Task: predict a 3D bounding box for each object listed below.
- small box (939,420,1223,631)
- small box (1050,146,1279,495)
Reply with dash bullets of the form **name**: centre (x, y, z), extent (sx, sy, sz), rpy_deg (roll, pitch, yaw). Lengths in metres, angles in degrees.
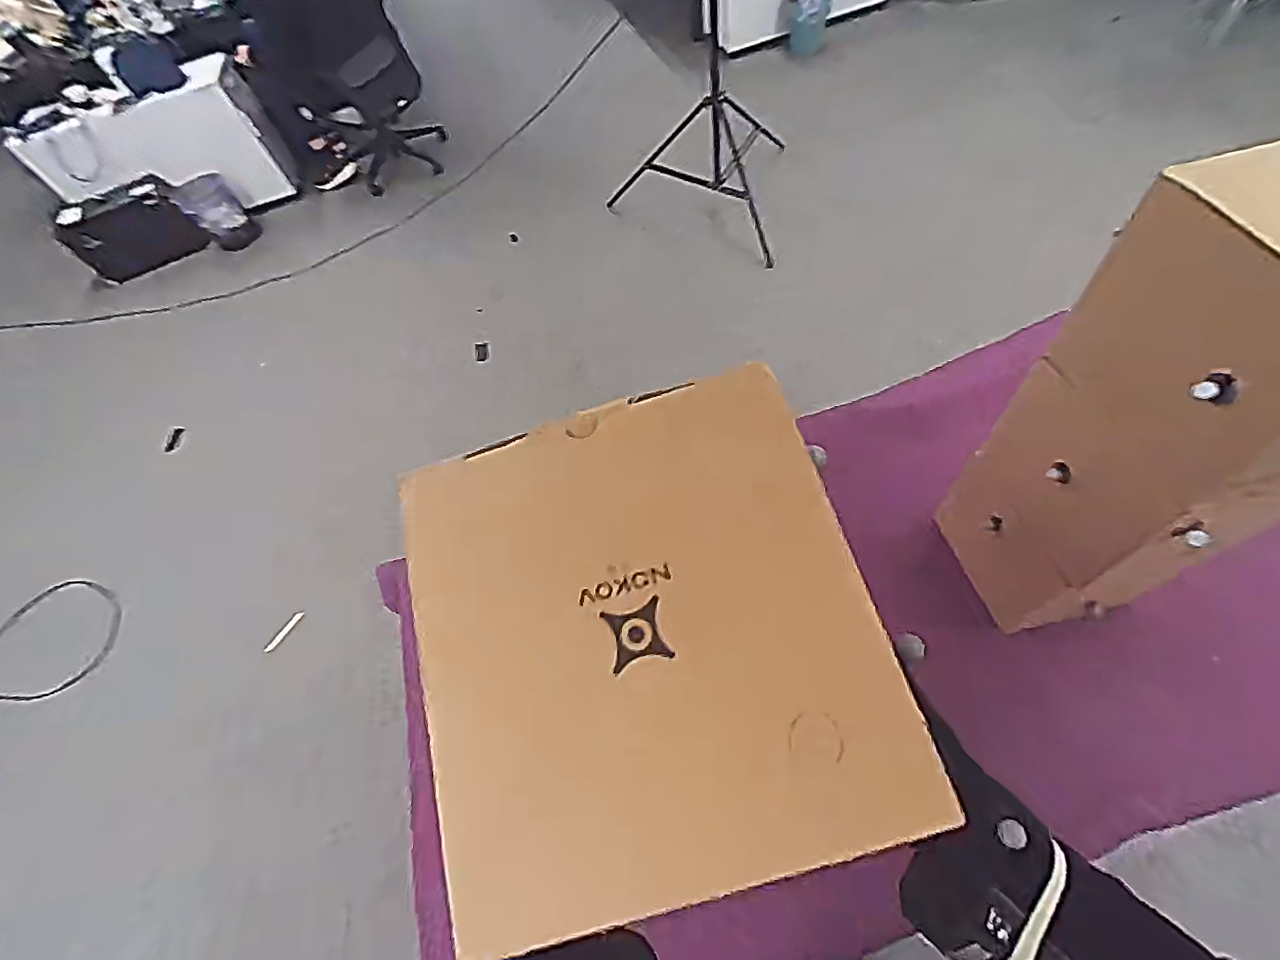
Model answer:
- **small box**: centre (0.499, 0.059, 0.652), extent (0.168, 0.176, 0.179), rpy_deg (-15, 57, 2)
- **small box**: centre (0.447, -0.106, 0.375), extent (0.168, 0.176, 0.179), rpy_deg (-13, 56, 1)
